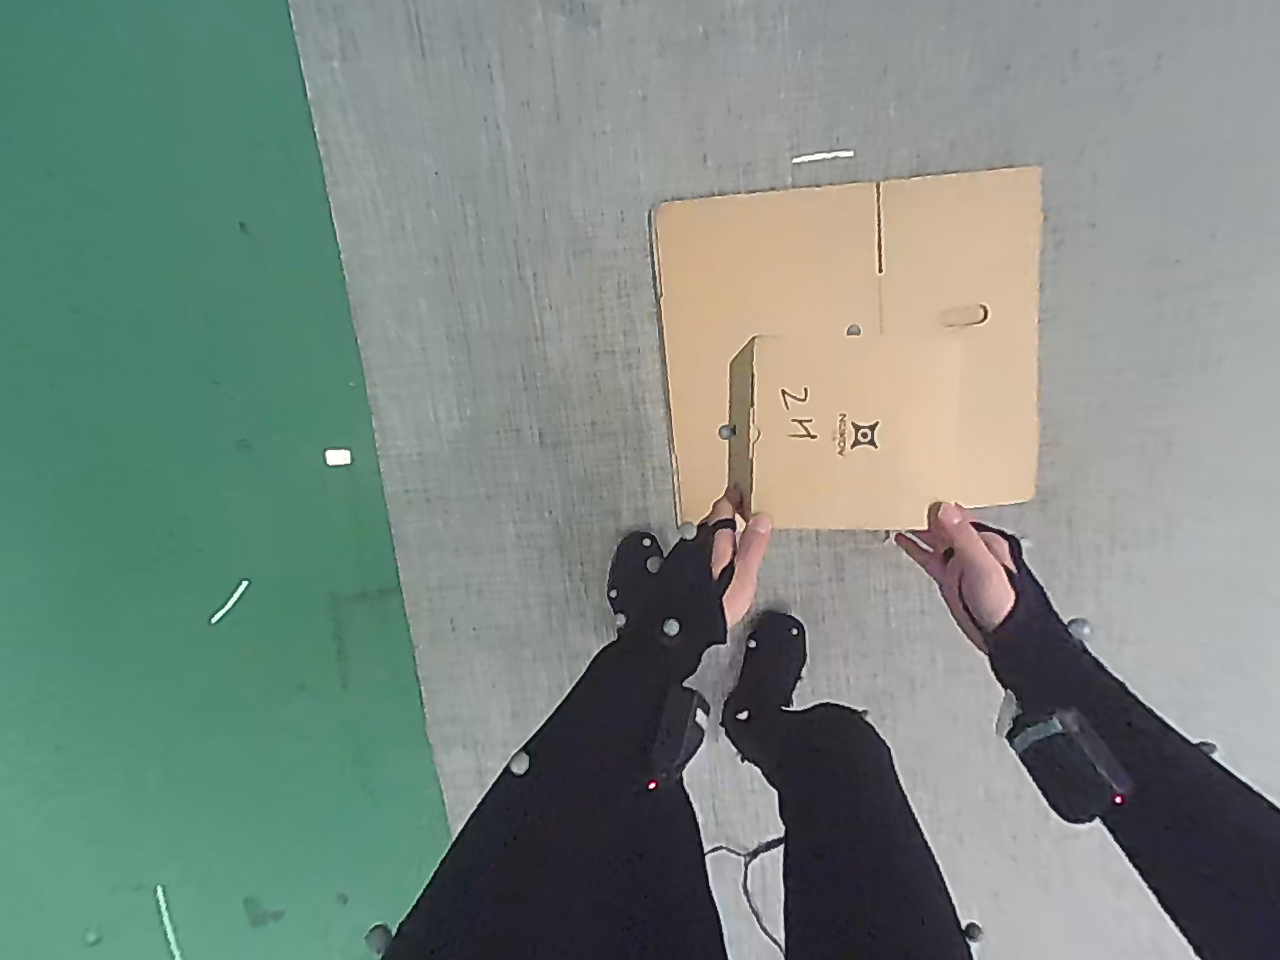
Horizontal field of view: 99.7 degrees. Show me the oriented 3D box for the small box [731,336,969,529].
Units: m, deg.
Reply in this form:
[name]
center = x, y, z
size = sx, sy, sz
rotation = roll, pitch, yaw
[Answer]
[small box]
center = 0.191, -0.048, 0.541
size = 0.179, 0.176, 0.168
rotation = 0, 95, 4
